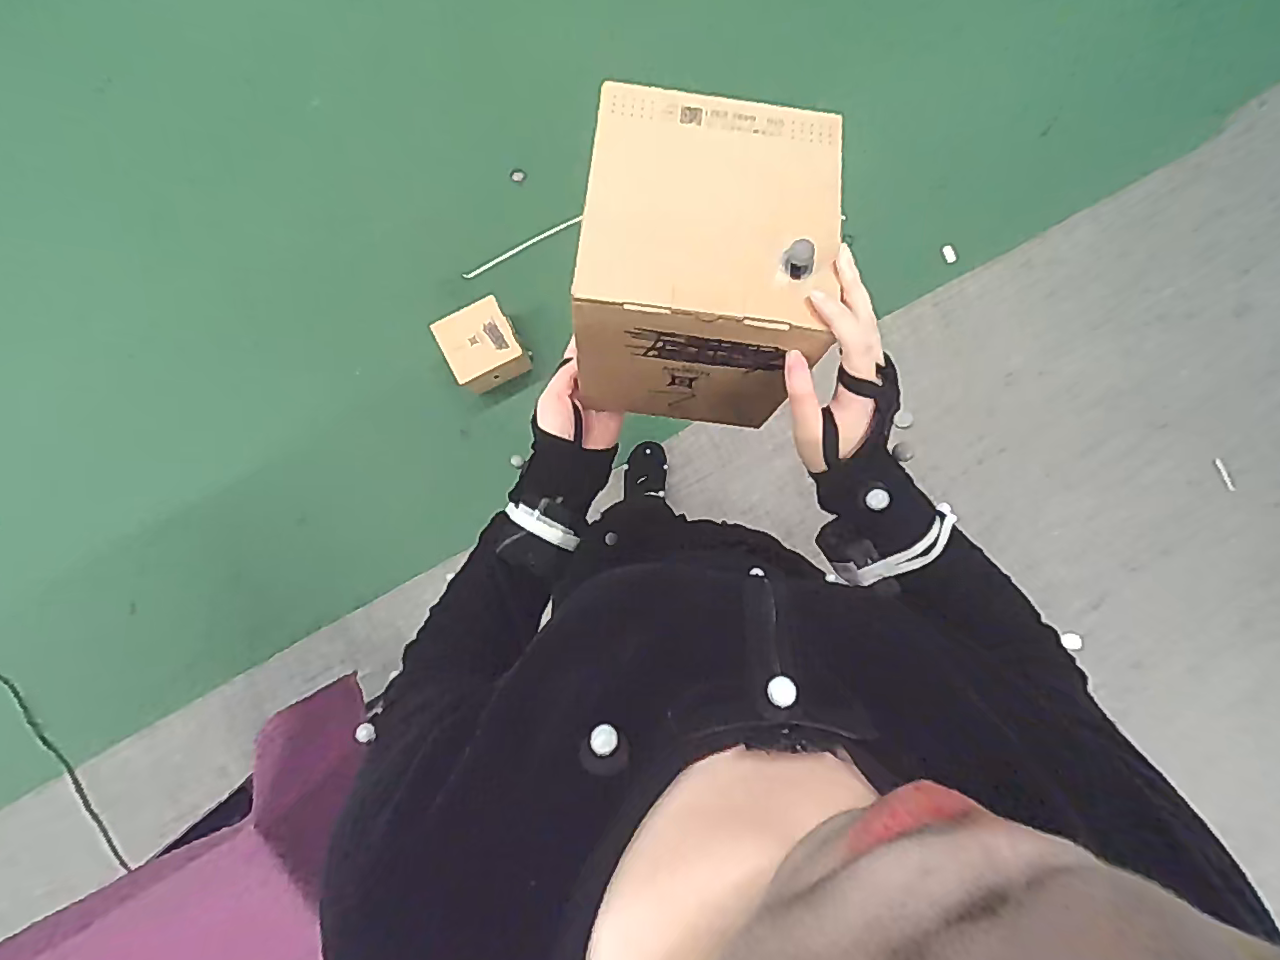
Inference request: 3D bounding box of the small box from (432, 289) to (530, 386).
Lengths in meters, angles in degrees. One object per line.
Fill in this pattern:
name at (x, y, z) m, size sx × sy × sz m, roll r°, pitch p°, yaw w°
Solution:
small box at (-0.398, -0.359, 1.393) m, size 0.179 × 0.176 × 0.168 m, roll -27°, pitch 92°, yaw 0°
